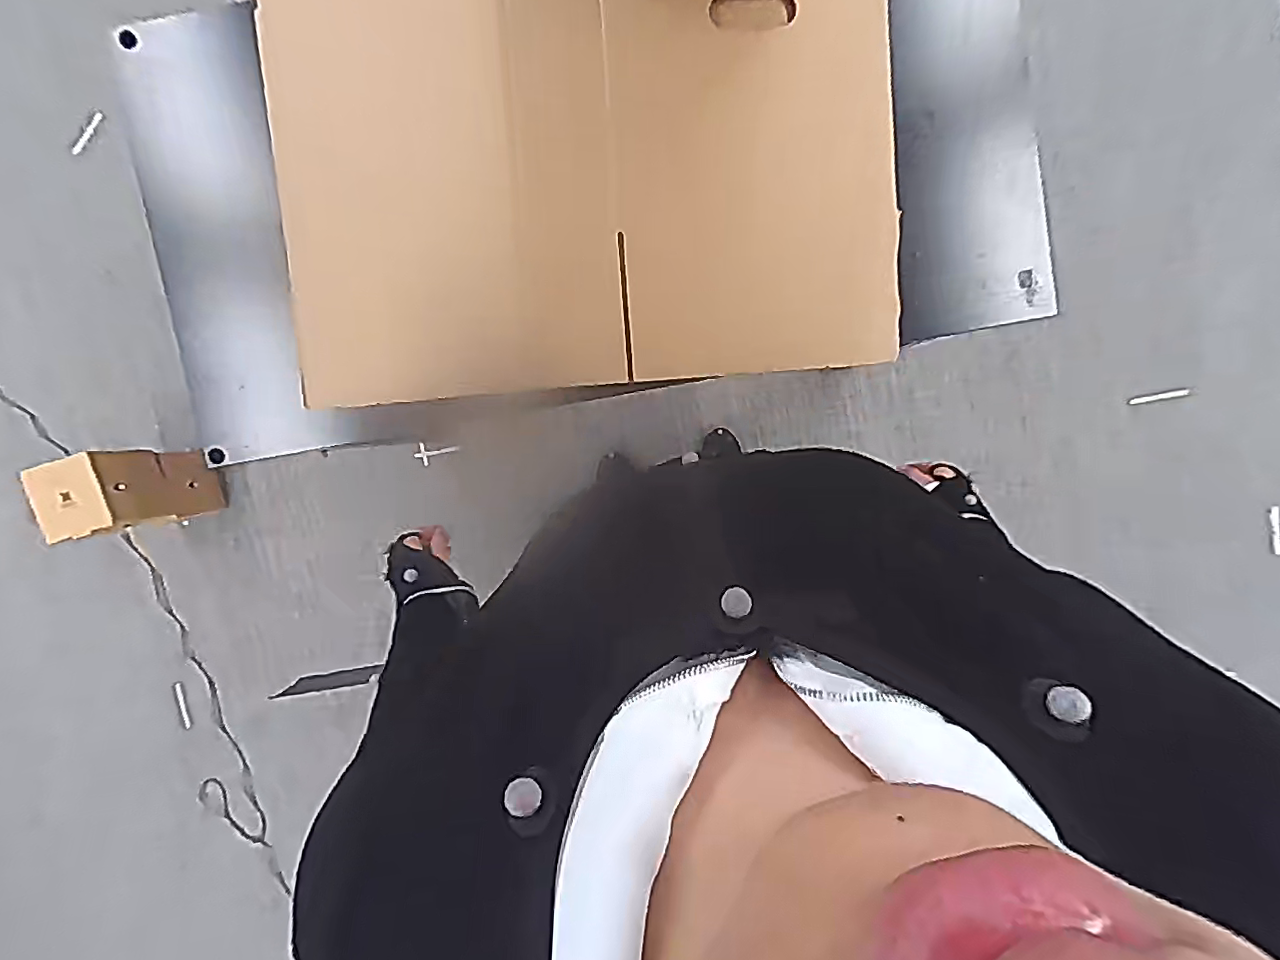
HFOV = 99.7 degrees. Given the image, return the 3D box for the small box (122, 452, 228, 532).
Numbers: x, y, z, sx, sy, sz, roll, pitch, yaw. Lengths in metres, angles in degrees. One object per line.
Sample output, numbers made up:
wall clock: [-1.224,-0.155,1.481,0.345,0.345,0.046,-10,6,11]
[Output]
small box: [-1.266,0.025,1.453,0.168,0.176,0.179,-14,95,3]

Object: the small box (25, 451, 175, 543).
small box: [-1.273,0.033,1.291,0.168,0.176,0.179,-17,93,2]
